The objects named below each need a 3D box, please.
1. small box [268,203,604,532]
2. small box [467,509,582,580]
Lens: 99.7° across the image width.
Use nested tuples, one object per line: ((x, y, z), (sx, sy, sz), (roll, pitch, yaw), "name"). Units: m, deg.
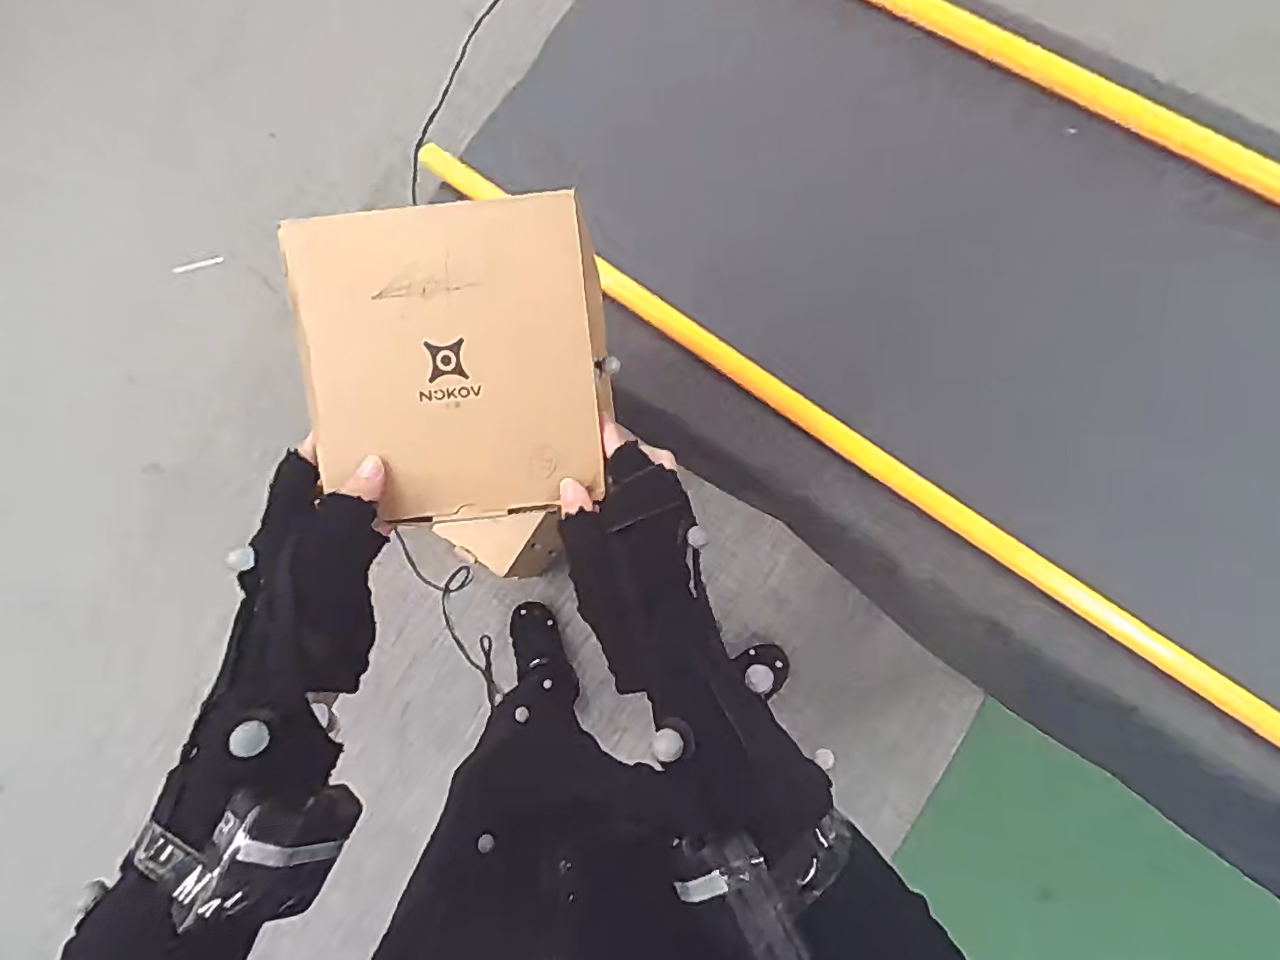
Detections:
((-0.119, -0.071, 0.392), (0.168, 0.176, 0.179), (-6, 96, 0), "small box")
((-0.248, 0.103, 1.220), (0.168, 0.176, 0.179), (41, 87, 8), "small box")
